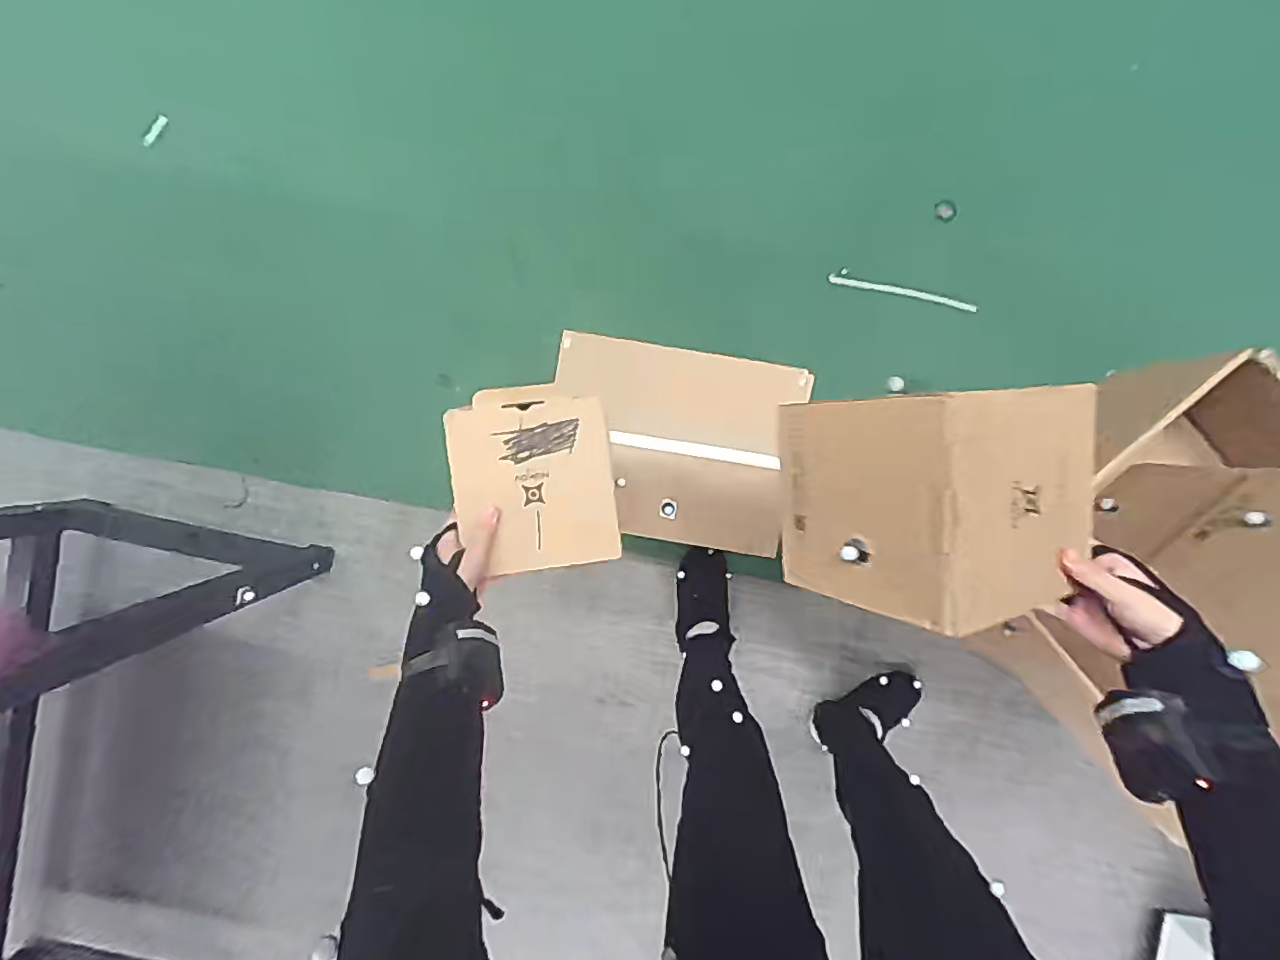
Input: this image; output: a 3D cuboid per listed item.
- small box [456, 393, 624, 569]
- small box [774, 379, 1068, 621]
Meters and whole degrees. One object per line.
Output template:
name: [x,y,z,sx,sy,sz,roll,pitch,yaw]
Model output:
small box: [-0.111,0.000,0.646,0.168,0.176,0.179,-5,92,-4]
small box: [0.231,0.005,0.472,0.179,0.176,0.168,-7,97,-25]
